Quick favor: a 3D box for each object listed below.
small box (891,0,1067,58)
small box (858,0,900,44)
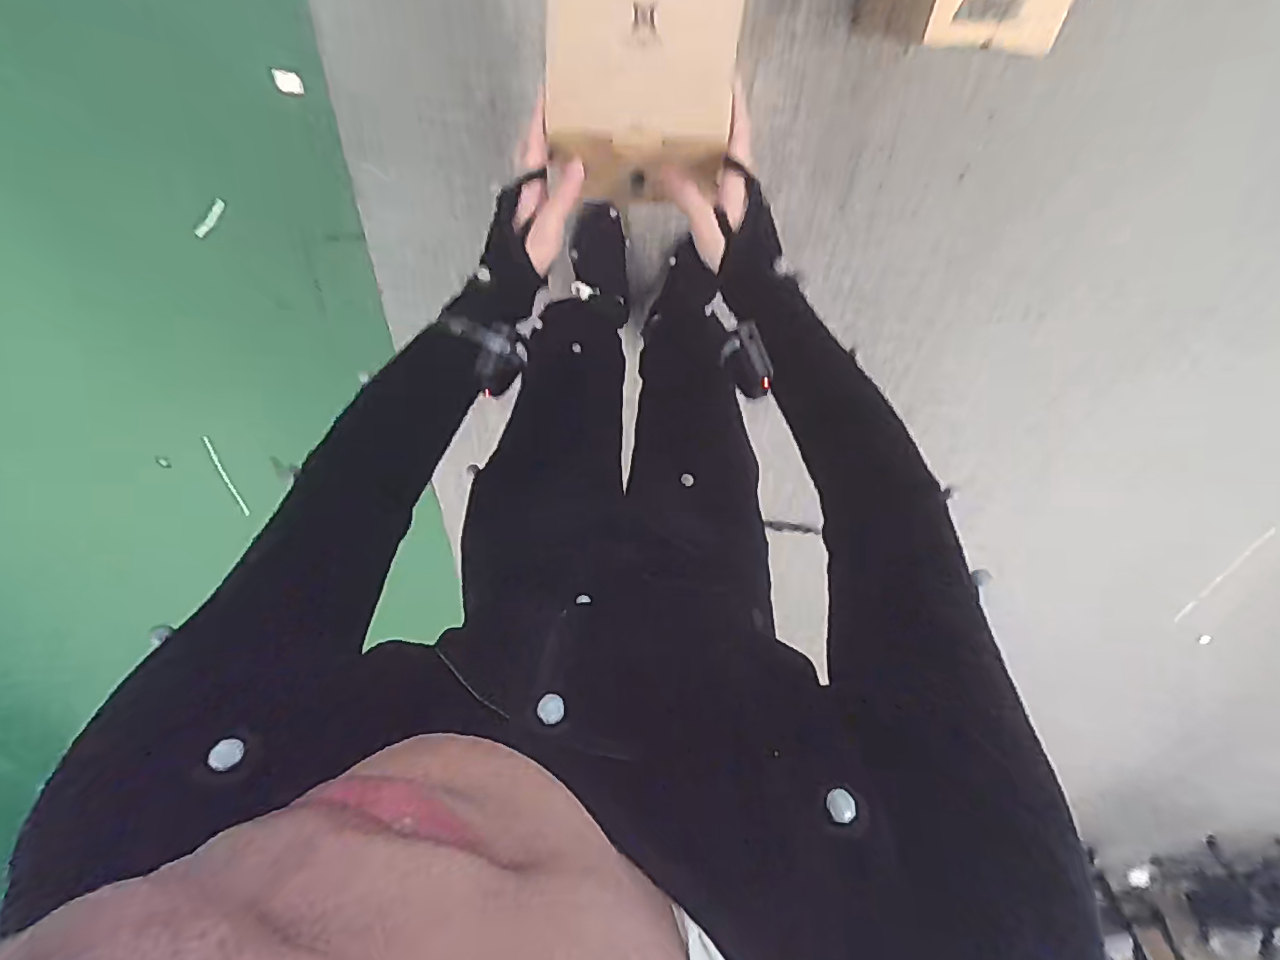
[{"bbox_3d":[0.454,-0.674,0.710,0.168,0.176,0.179,6,128,0],"label":"small box"},{"bbox_3d":[0.461,-0.780,0.835,0.179,0.176,0.168,5,130,0],"label":"small box"}]
